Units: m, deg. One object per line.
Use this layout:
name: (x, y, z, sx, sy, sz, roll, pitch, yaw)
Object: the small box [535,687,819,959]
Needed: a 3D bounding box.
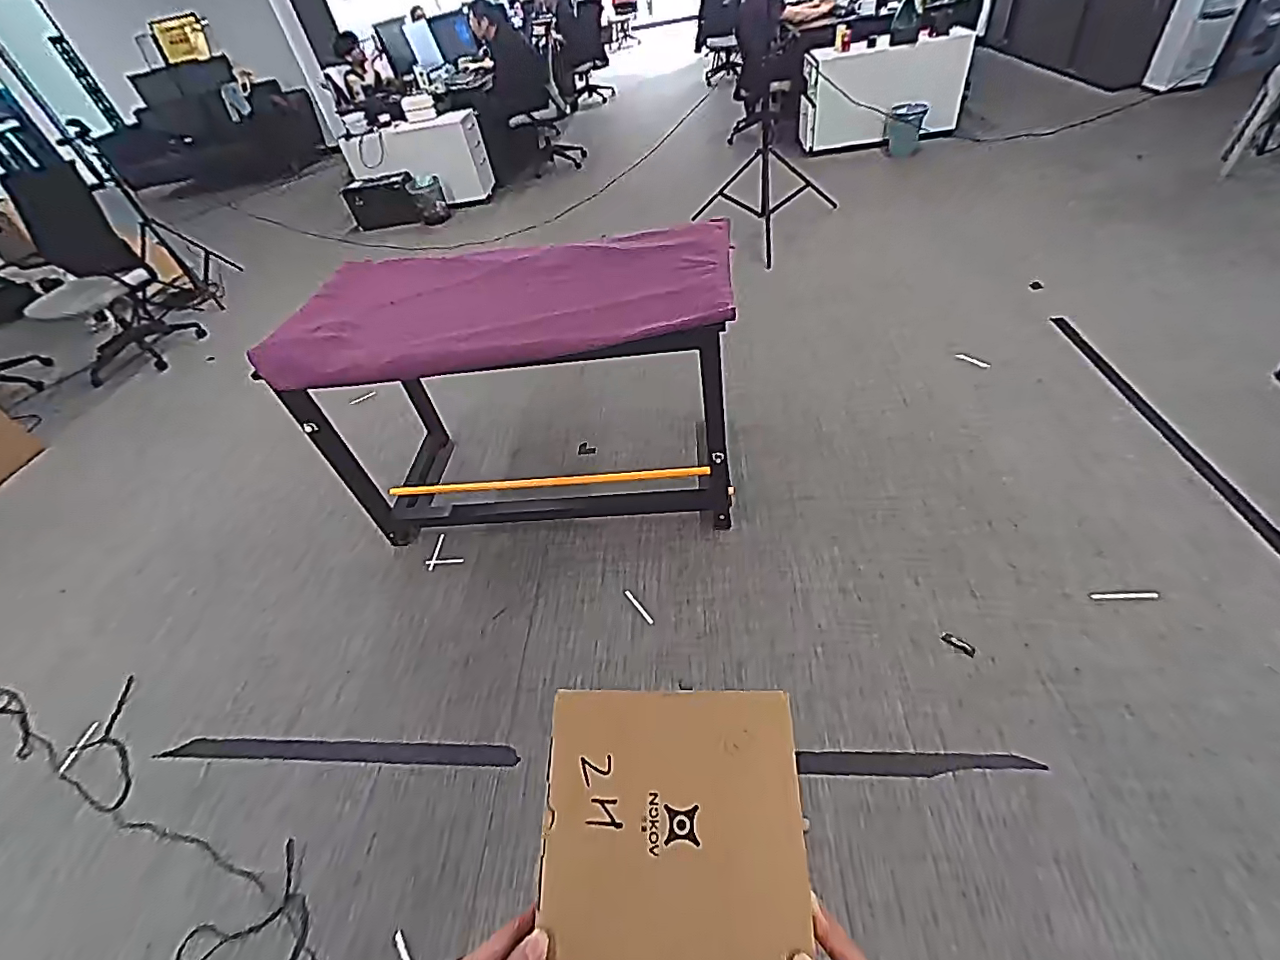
small box: (0.033, 0.264, 0.434, 0.179, 0.176, 0.168, -3, 62, 8)
